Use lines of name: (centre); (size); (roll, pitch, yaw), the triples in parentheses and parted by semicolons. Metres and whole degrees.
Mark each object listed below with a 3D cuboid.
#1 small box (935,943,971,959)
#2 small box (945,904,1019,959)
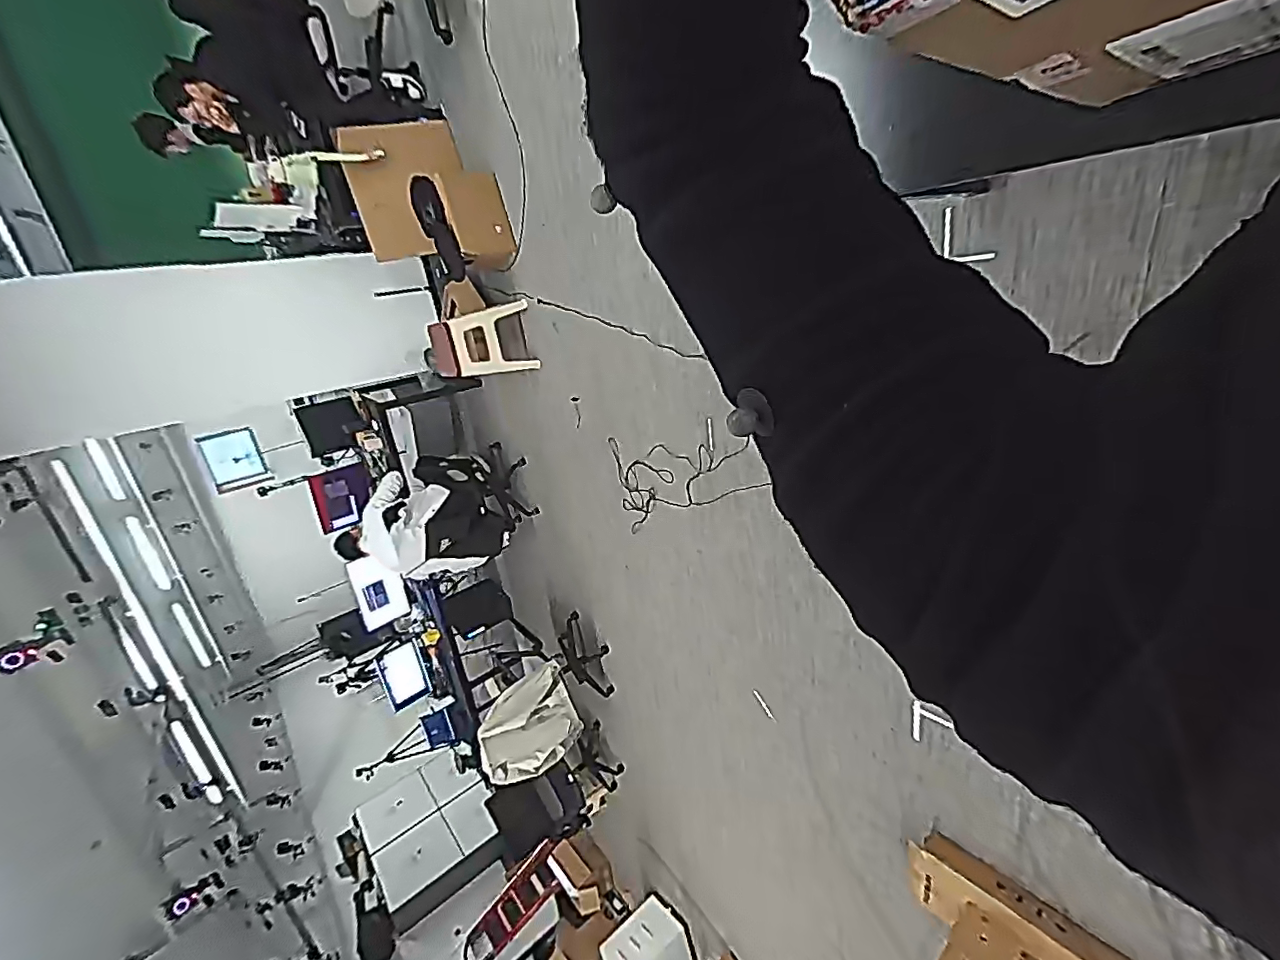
small box: (1.001, 1.616, 1.678); (0.168, 0.176, 0.179); (11, 118, 50)
small box: (1.119, 1.560, 1.776); (0.168, 0.176, 0.179); (15, 121, 49)
